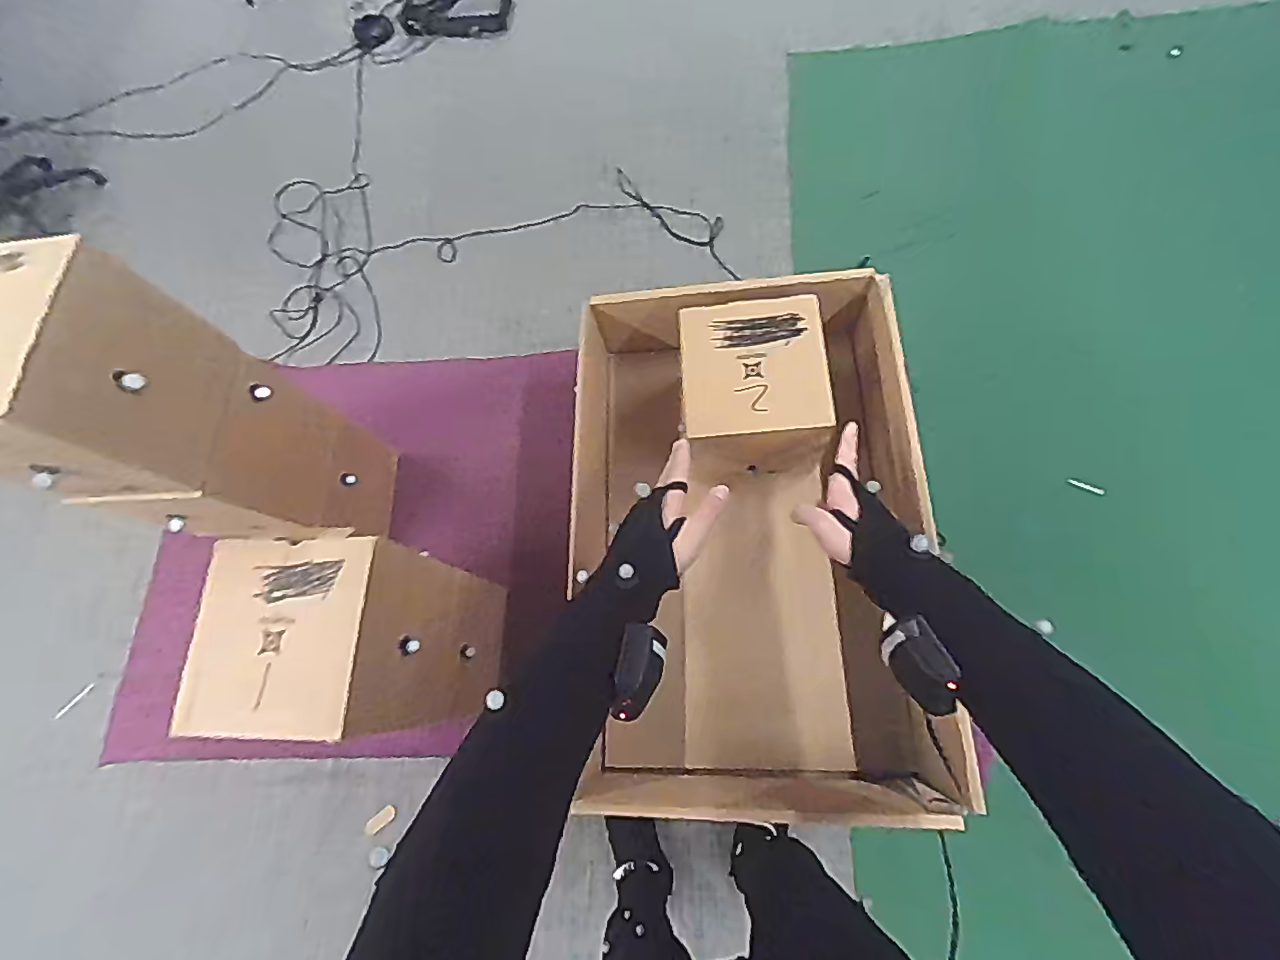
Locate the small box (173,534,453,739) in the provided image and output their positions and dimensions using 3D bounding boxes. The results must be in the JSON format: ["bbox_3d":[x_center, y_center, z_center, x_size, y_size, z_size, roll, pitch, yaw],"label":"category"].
[{"bbox_3d":[-0.313,0.161,0.561,0.168,0.176,0.179,-1,71,8],"label":"small box"}]

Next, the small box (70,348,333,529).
[{"bbox_3d":[-0.512,-0.038,0.663,0.168,0.176,0.179,-2,71,7],"label":"small box"}]

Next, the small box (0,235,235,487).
[{"bbox_3d":[-0.532,-0.095,0.510,0.168,0.176,0.179,-3,72,6],"label":"small box"}]

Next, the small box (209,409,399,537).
[{"bbox_3d":[-0.490,0.009,0.816,0.168,0.176,0.179,-2,71,7],"label":"small box"}]
